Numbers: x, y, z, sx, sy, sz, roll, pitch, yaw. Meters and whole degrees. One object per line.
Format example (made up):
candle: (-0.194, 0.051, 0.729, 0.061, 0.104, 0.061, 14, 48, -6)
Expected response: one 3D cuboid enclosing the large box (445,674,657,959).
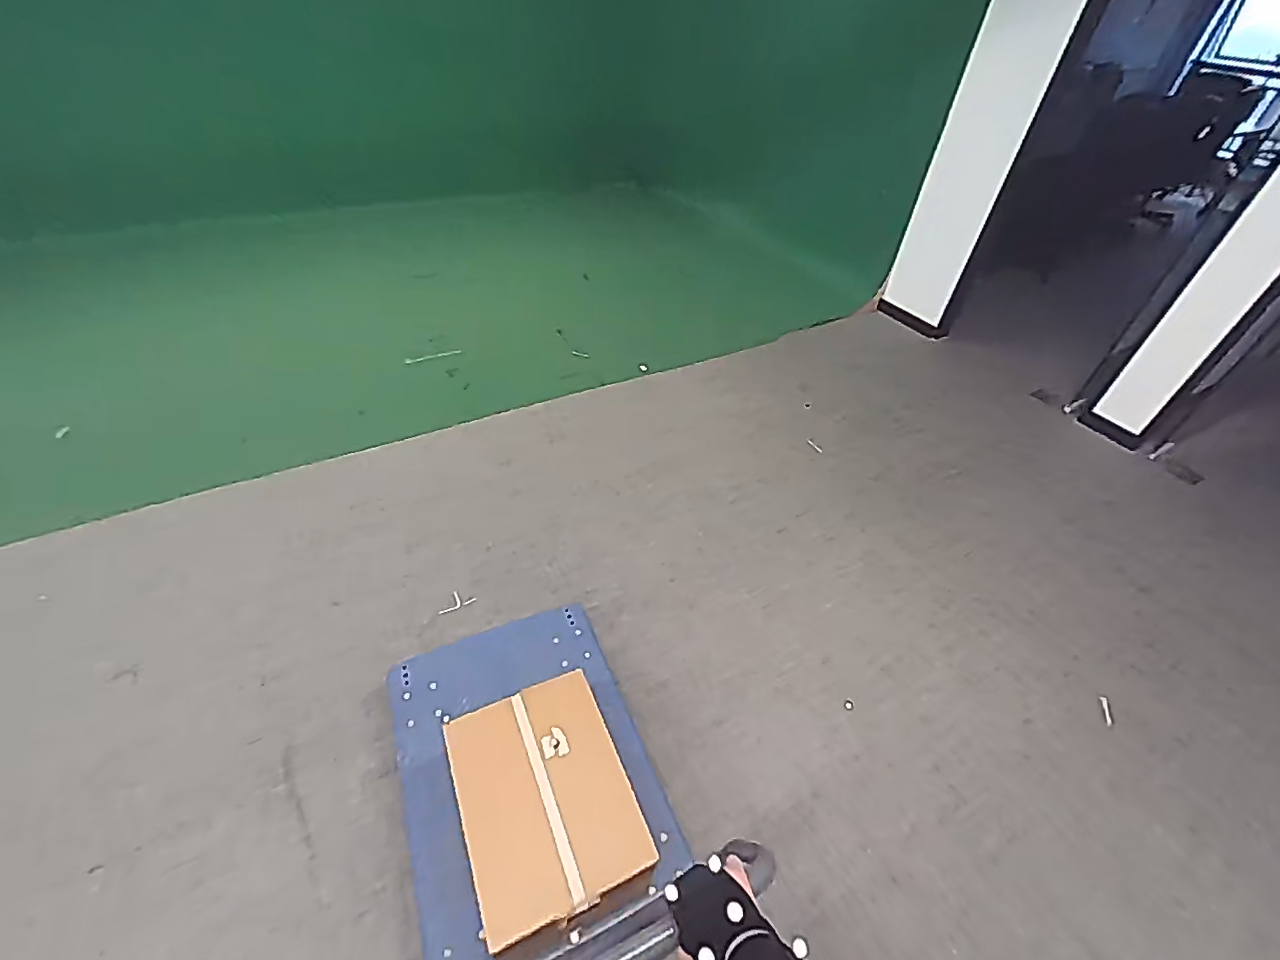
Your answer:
large box: (-0.193, 0.716, 1.162, 0.320, 0.320, 0.408, -16, 46, -20)
